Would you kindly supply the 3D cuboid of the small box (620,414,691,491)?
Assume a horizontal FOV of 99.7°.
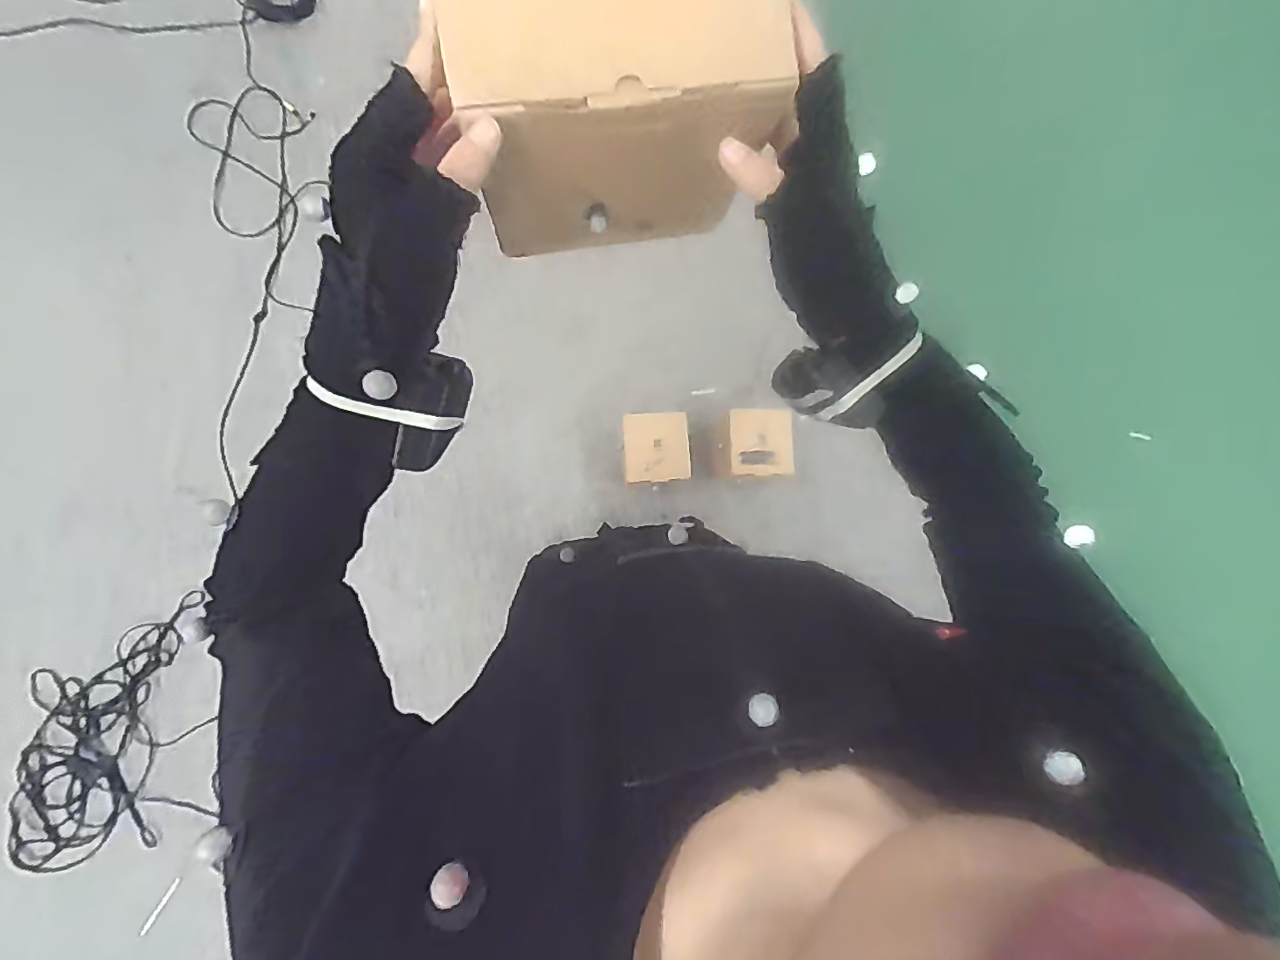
[{"bbox_3d":[0.035,-0.069,1.430,0.168,0.176,0.179,-3,84,-4],"label":"small box"}]
